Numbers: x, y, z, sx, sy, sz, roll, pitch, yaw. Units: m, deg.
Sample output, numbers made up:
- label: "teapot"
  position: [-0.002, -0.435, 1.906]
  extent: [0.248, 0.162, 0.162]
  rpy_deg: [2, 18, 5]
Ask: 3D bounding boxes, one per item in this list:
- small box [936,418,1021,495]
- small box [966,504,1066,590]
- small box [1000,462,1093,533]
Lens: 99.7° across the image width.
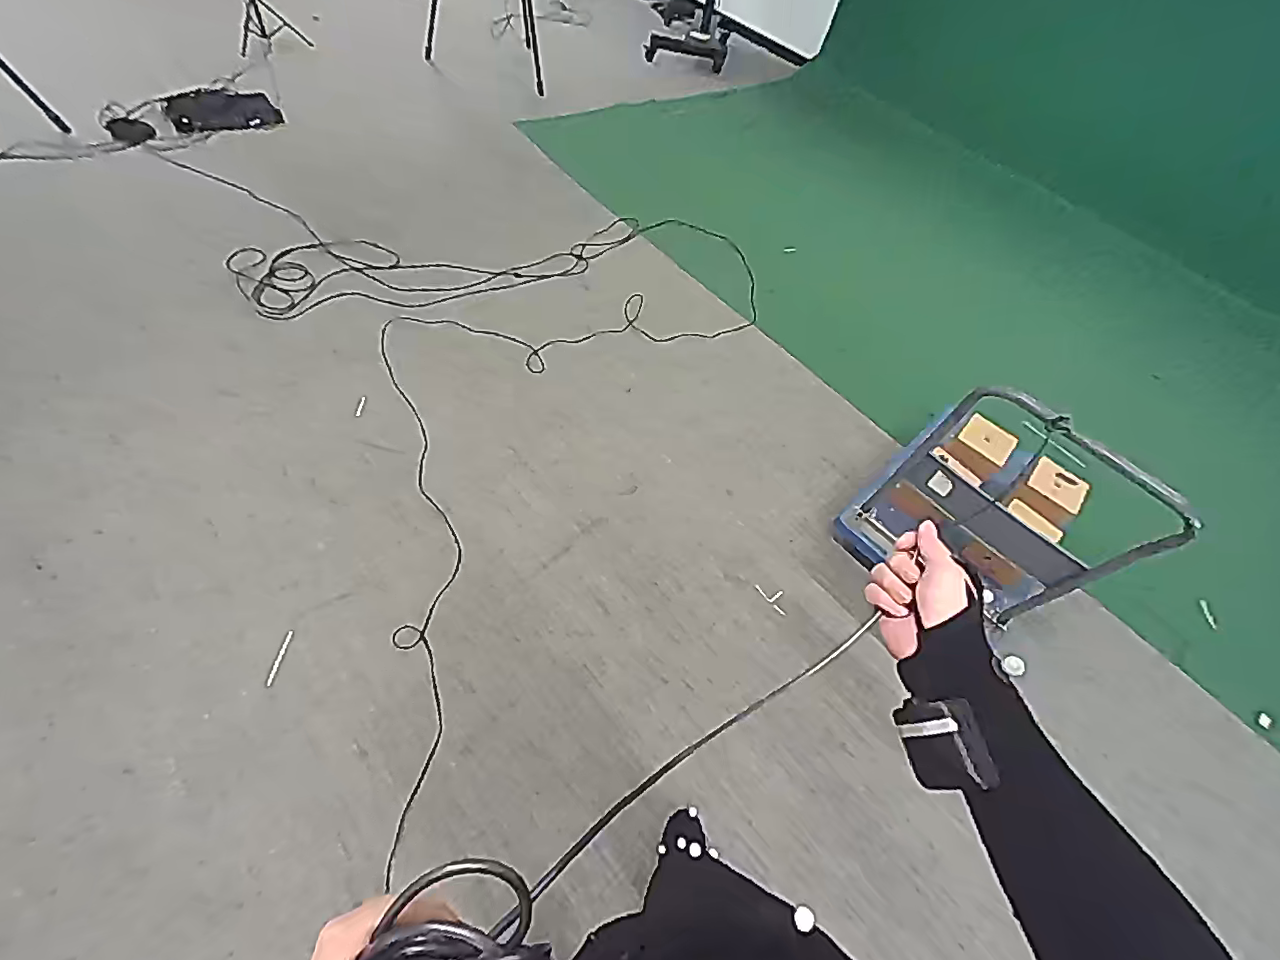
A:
- label: "small box"
  position: [1.181, -0.078, 1.901]
  extent: [0.168, 0.176, 0.179]
  rpy_deg: [41, 58, 17]
- label: "small box"
  position: [1.169, 0.212, 1.695]
  extent: [0.179, 0.176, 0.168]
  rpy_deg: [-34, 67, -28]
- label: "small box"
  position: [1.364, 0.078, 1.825]
  extent: [0.168, 0.176, 0.179]
  rpy_deg: [40, 59, 18]
